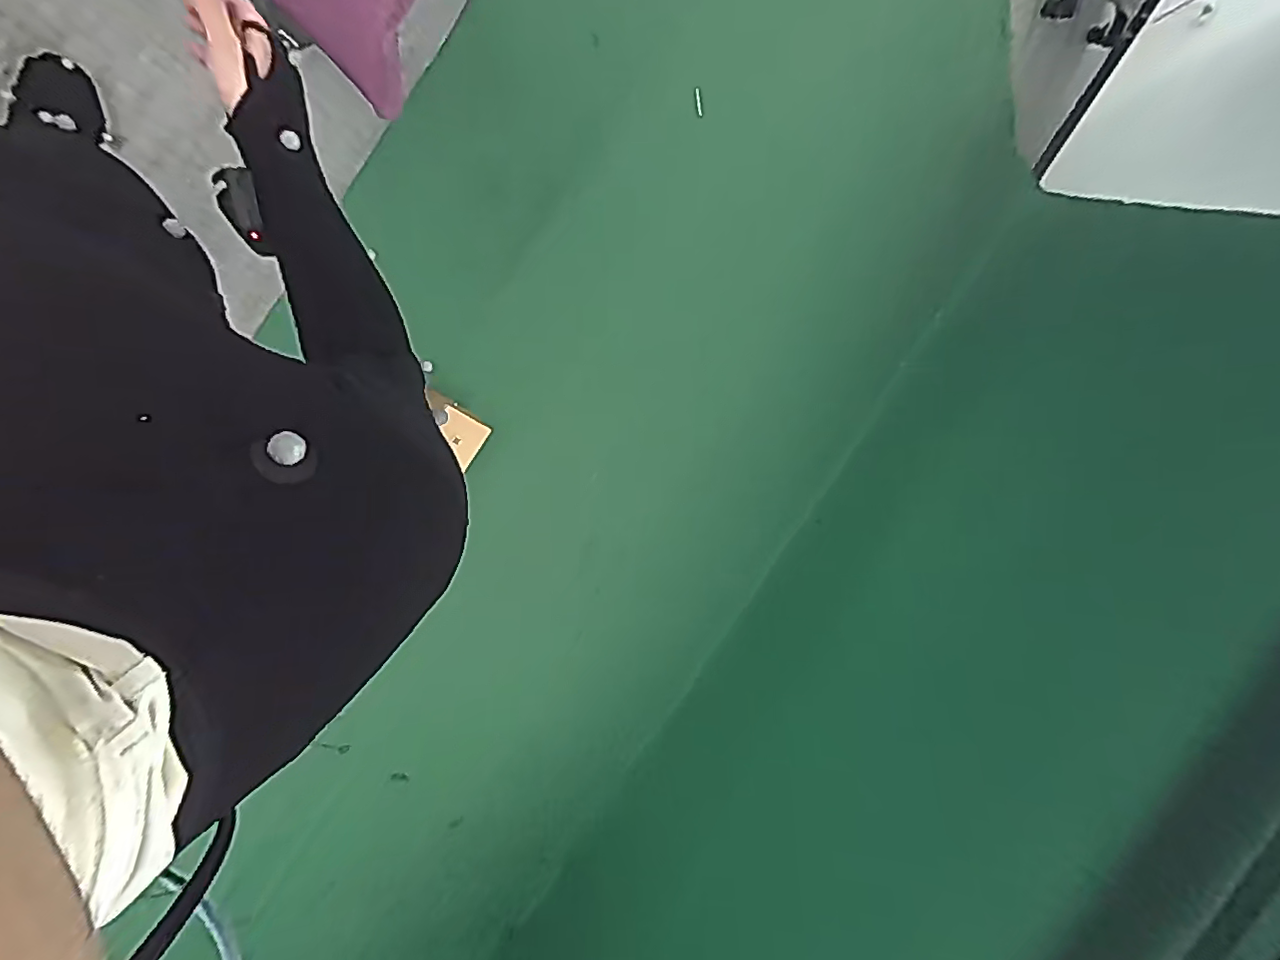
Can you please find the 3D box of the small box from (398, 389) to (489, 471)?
[{"bbox_3d":[-0.609,-0.159,1.674,0.179,0.176,0.168,32,92,-49],"label":"small box"}]
